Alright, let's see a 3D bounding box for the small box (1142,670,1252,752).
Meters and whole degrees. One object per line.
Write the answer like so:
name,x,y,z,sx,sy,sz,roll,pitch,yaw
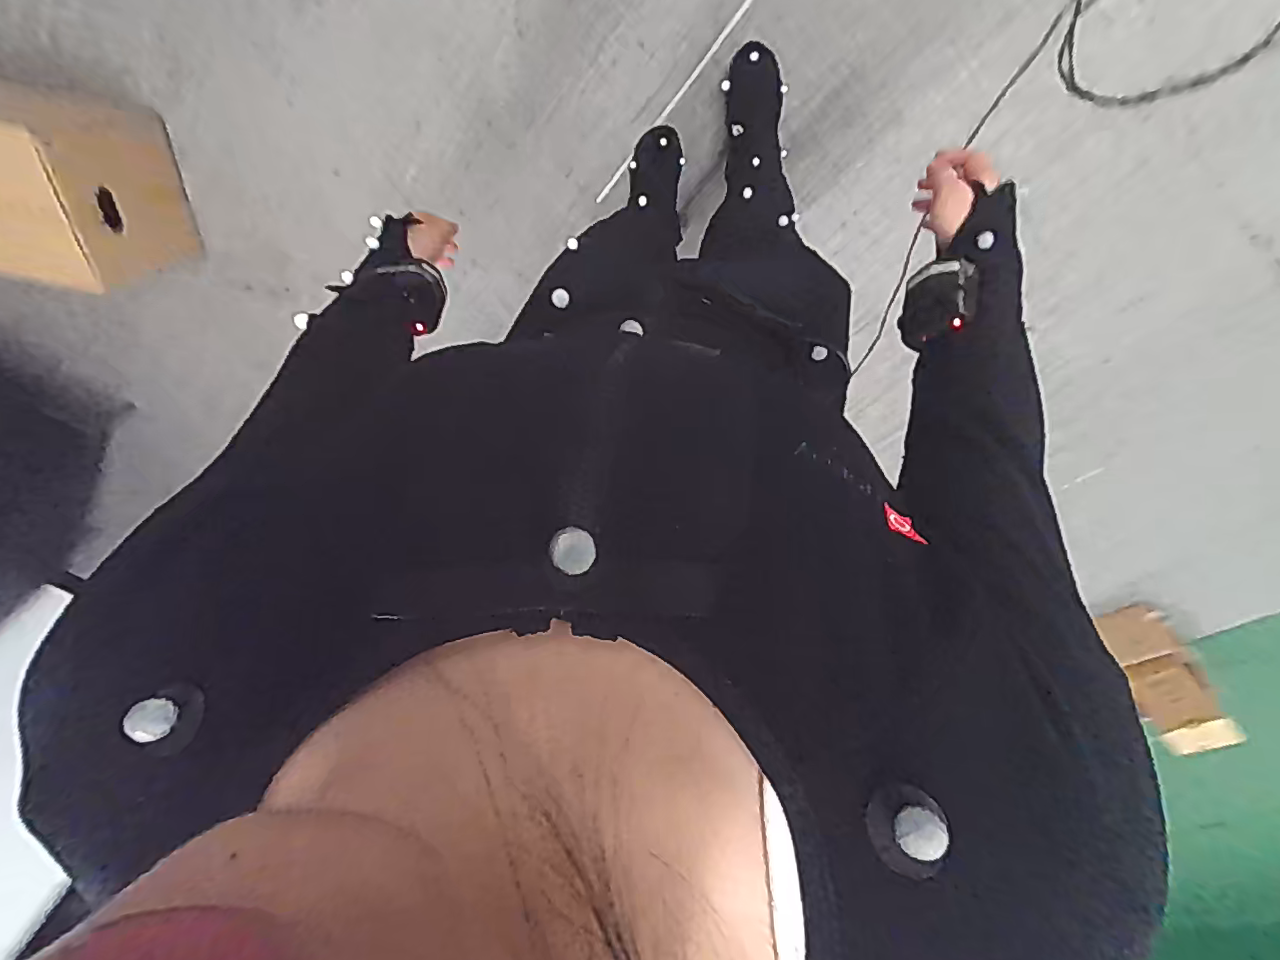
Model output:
small box,1.771,0.733,1.729,0.179,0.176,0.168,40,123,-22
